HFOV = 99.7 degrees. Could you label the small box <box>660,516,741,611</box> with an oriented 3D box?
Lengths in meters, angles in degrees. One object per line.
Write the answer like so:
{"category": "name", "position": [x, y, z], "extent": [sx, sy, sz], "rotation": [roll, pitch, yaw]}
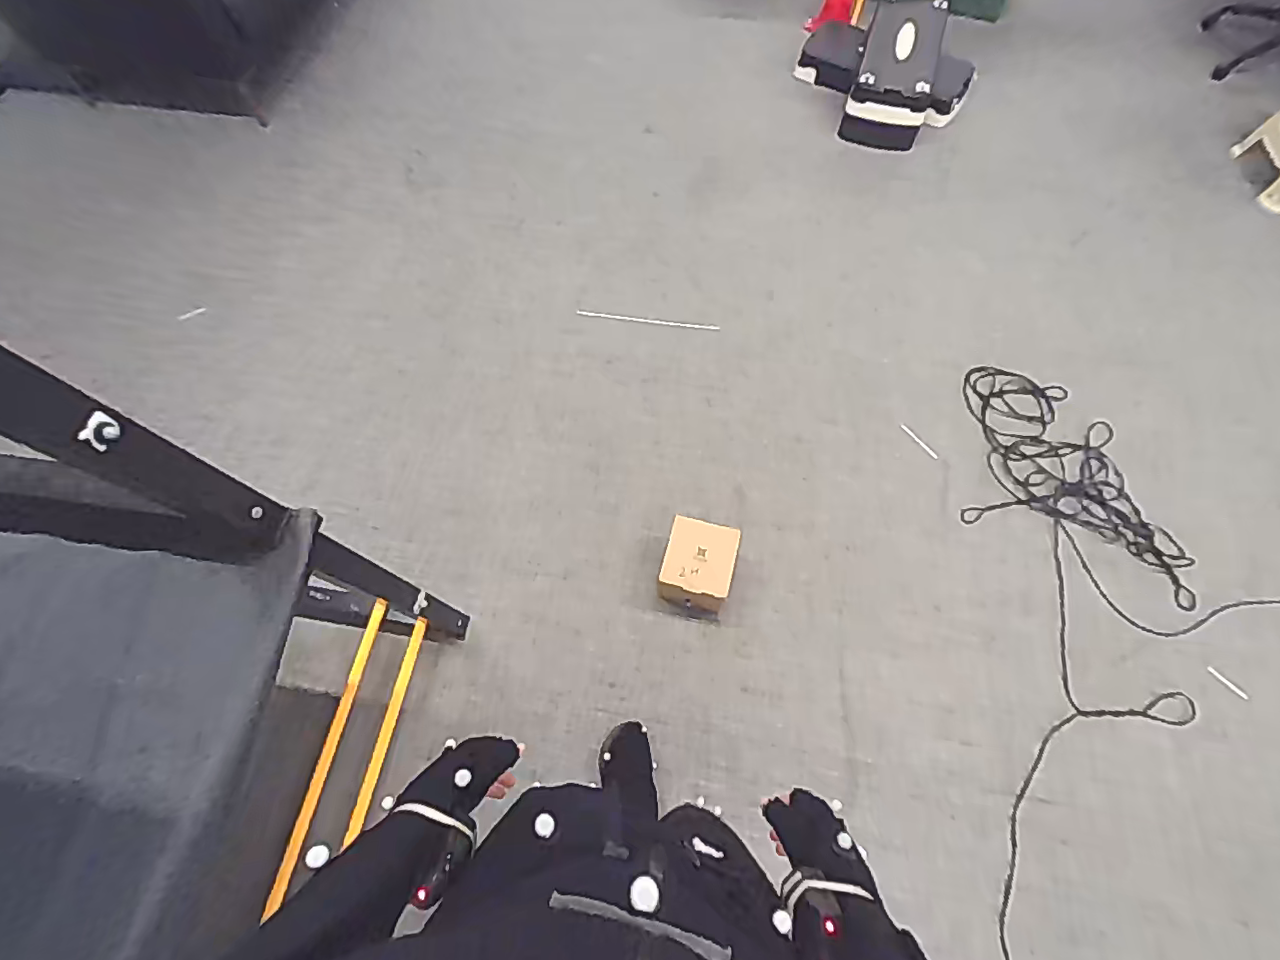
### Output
{"category": "small box", "position": [0.148, 0.214, 1.365], "extent": [0.168, 0.176, 0.179], "rotation": [14, 68, 8]}
